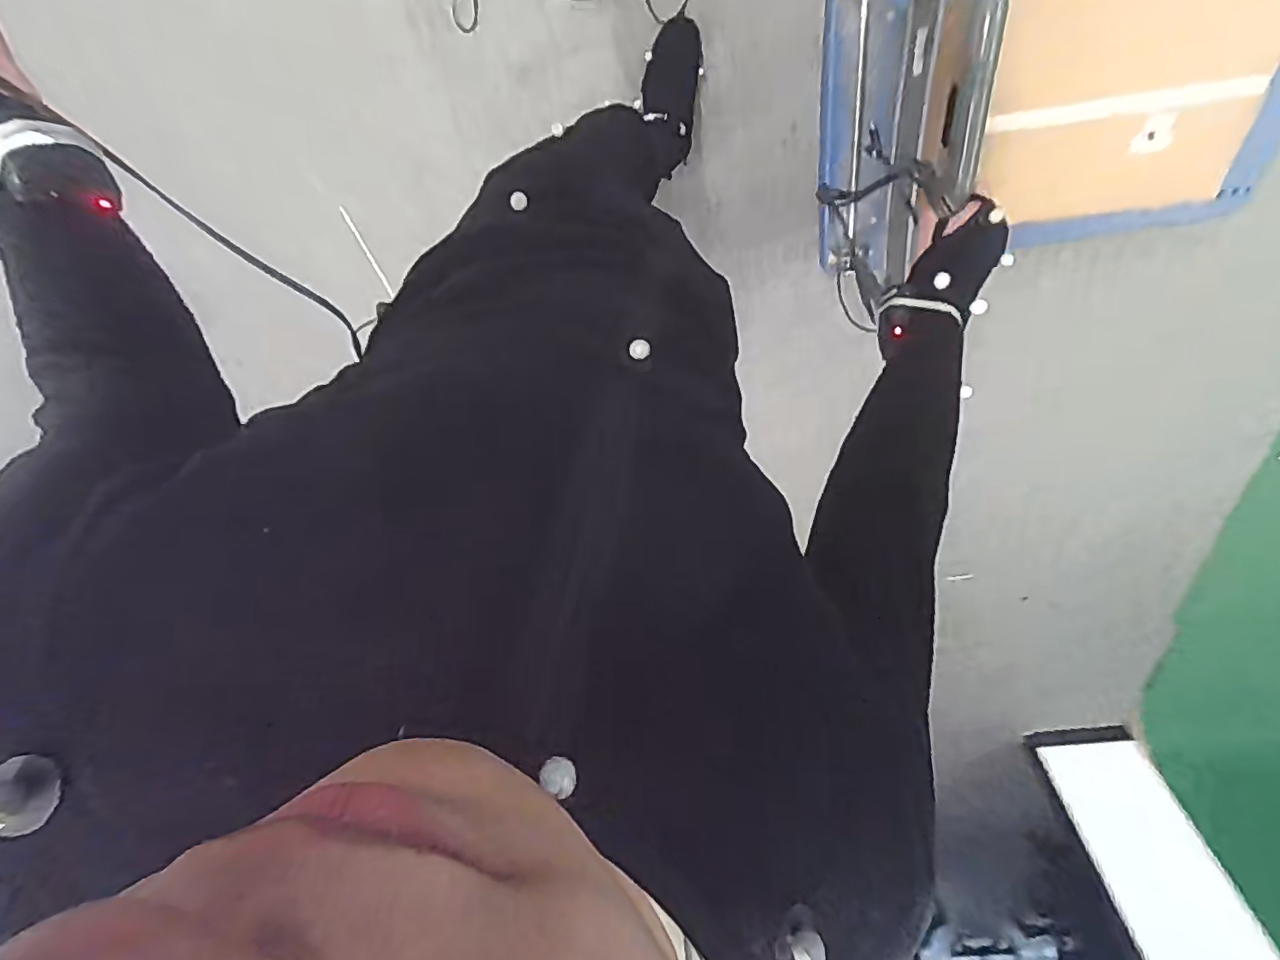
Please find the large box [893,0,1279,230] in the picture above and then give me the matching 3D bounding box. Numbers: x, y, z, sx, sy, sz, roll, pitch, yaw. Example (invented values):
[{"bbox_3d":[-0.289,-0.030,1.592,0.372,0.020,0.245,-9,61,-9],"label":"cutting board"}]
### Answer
[{"bbox_3d":[0.700,-0.656,0.920,0.408,0.320,0.320,-5,130,7],"label":"large box"}]
